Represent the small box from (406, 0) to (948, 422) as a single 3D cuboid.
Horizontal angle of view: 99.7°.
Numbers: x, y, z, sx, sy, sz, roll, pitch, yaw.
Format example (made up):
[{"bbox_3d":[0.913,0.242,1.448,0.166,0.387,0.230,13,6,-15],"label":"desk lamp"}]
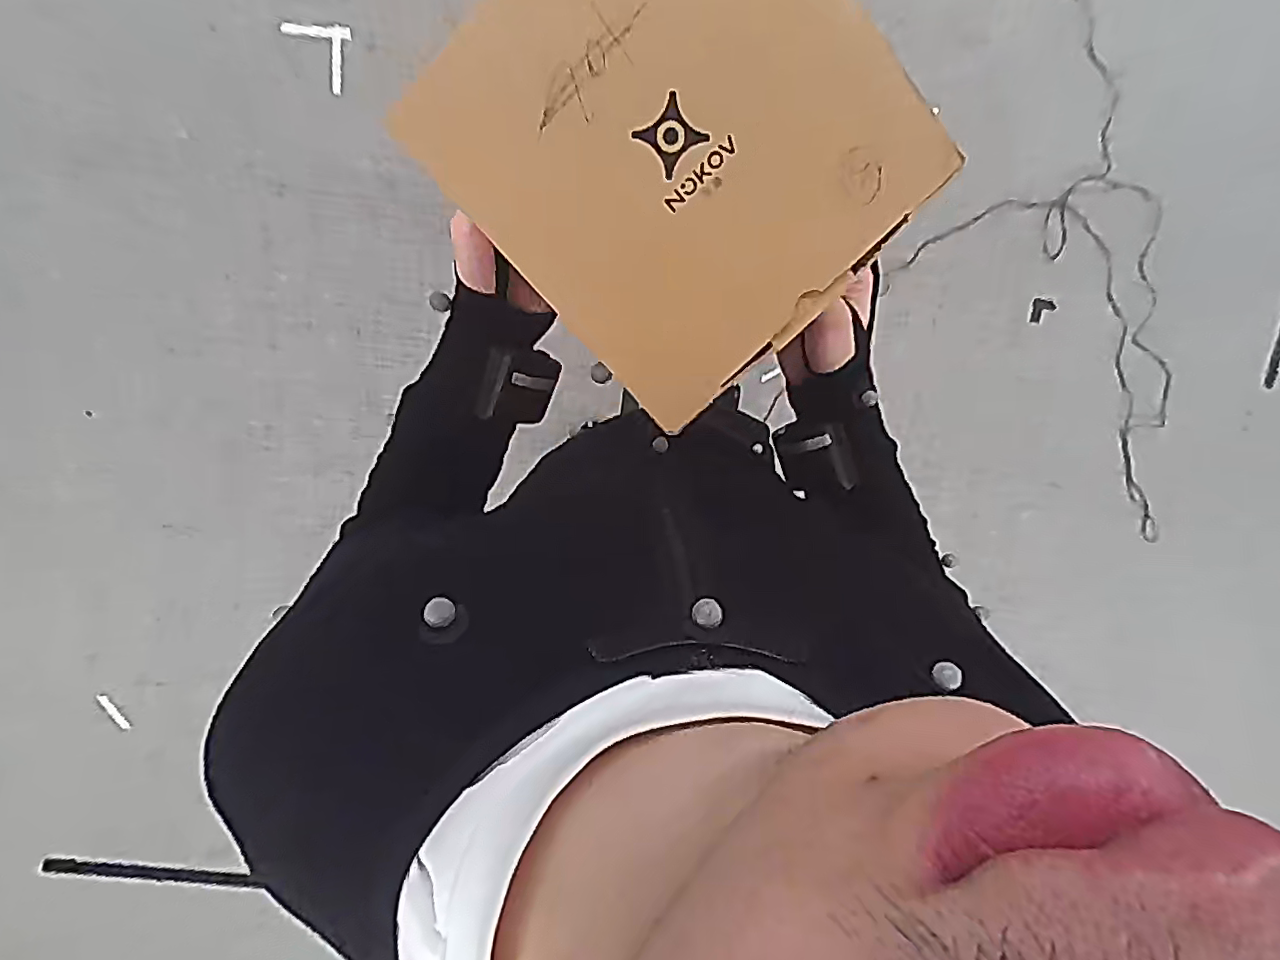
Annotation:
[{"bbox_3d":[0.017,-0.160,0.307,0.168,0.176,0.179,-44,100,9],"label":"small box"}]
